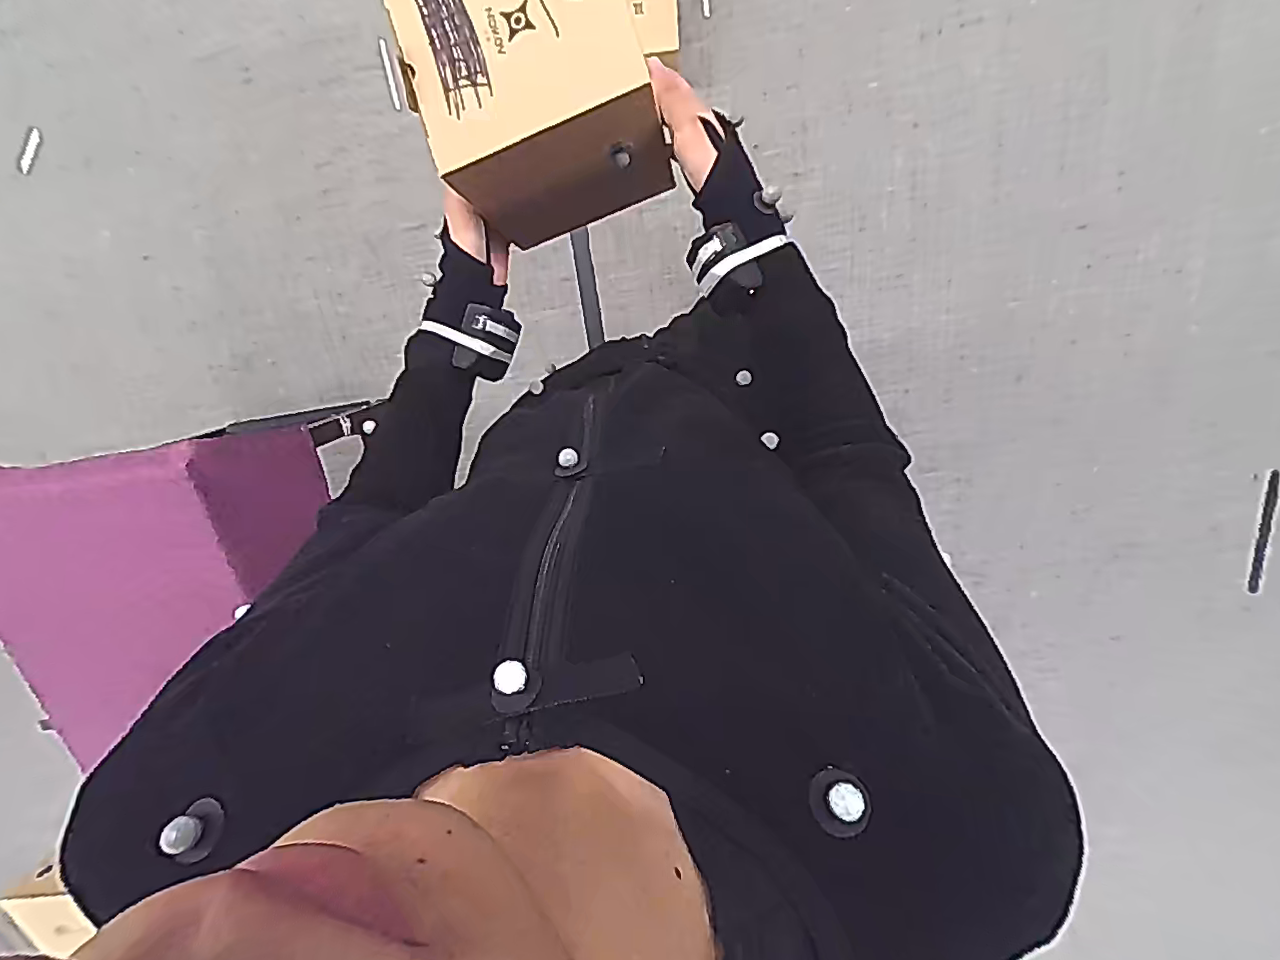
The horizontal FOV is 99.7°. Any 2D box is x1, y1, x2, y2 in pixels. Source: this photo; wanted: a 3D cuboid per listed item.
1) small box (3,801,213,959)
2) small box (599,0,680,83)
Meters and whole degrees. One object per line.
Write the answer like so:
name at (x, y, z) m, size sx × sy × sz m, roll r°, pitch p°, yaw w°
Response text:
small box at (-0.933, 0.711, 0.967) m, size 0.179 × 0.176 × 0.168 m, roll -12°, pitch 108°, yaw 9°
small box at (0.003, -1.029, 1.224) m, size 0.168 × 0.176 × 0.179 m, roll -3°, pitch 108°, yaw 6°
